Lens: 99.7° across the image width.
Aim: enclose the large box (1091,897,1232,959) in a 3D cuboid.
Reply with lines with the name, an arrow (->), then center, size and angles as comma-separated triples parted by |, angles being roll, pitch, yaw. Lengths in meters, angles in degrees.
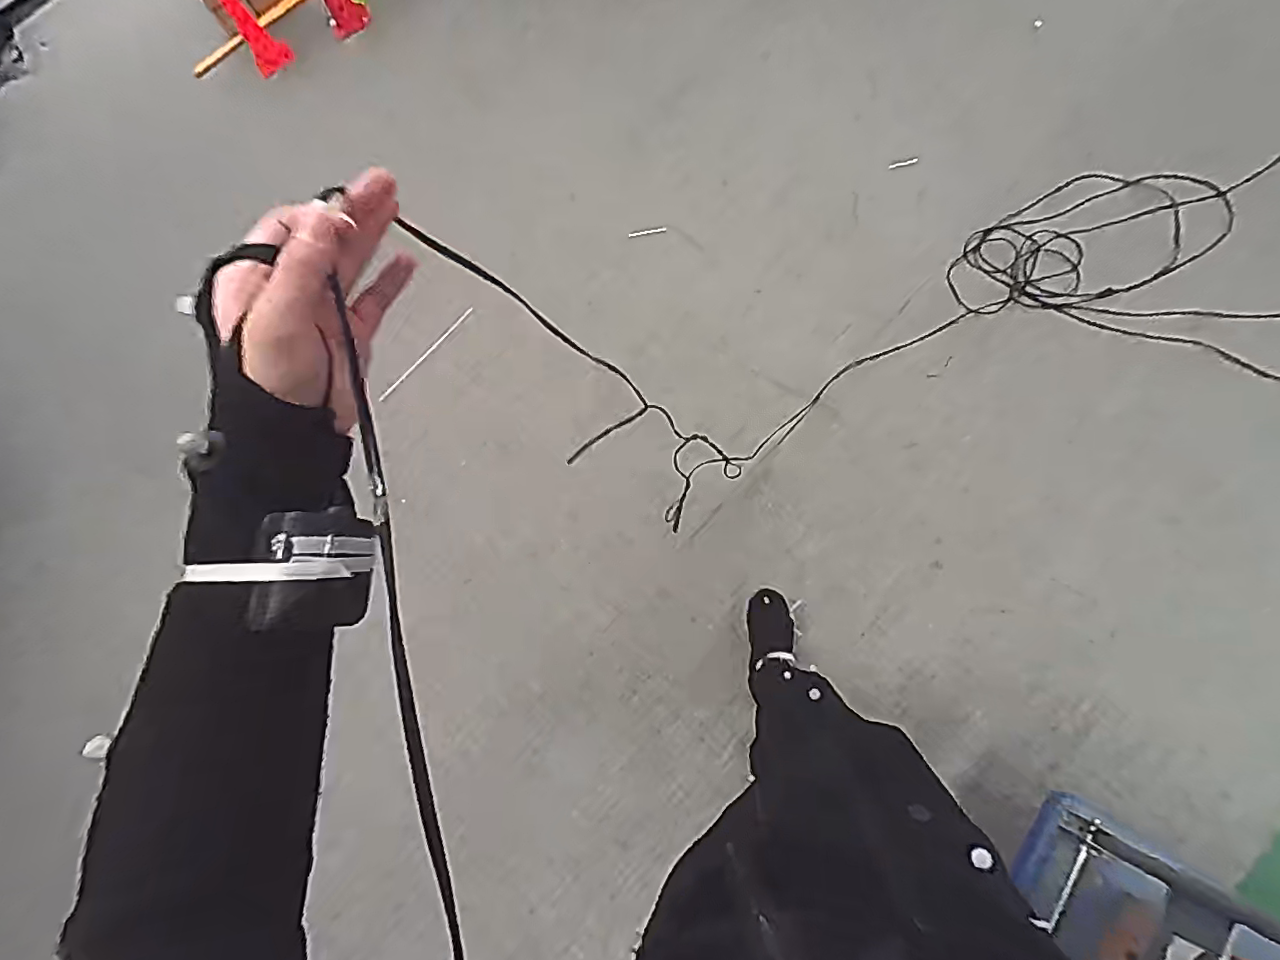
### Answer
large box -> 0.941, 0.940, 0.781 | 0.408, 0.320, 0.320 | 33, 81, 20
